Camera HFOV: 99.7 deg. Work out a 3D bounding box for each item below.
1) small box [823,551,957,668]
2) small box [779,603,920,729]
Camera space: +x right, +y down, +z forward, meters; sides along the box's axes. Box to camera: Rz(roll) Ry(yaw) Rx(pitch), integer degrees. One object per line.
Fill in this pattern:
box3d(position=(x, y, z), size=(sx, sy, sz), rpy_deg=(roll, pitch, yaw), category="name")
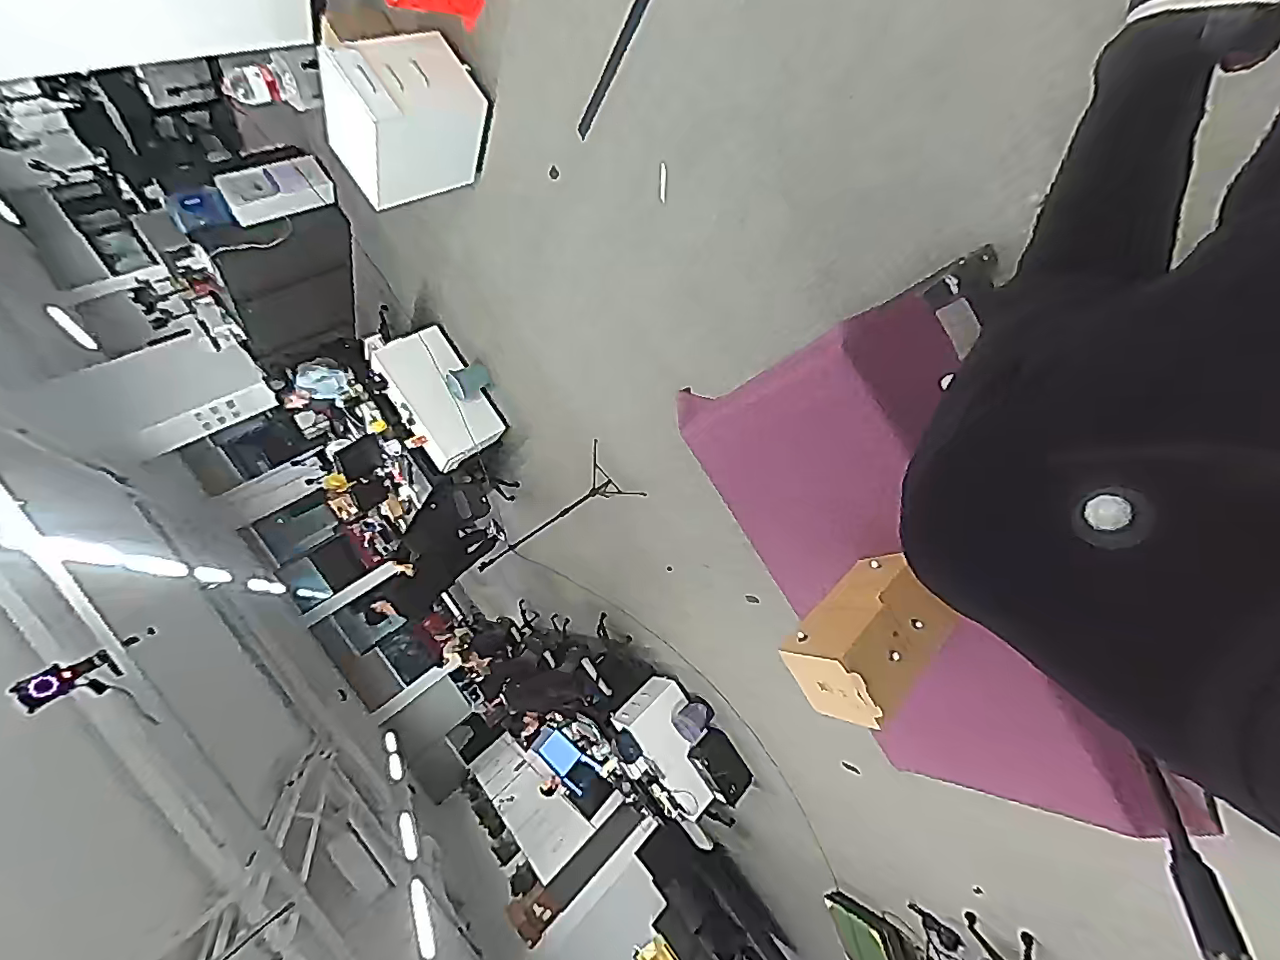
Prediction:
box3d(position=(0.547, 0.281, 1.179), size=(0.179, 0.176, 0.168), rpy_deg=(55, 152, -1), category="small box")
box3d(position=(0.427, 0.367, 1.105), size=(0.168, 0.176, 0.179), rpy_deg=(57, 152, -7), category="small box")
